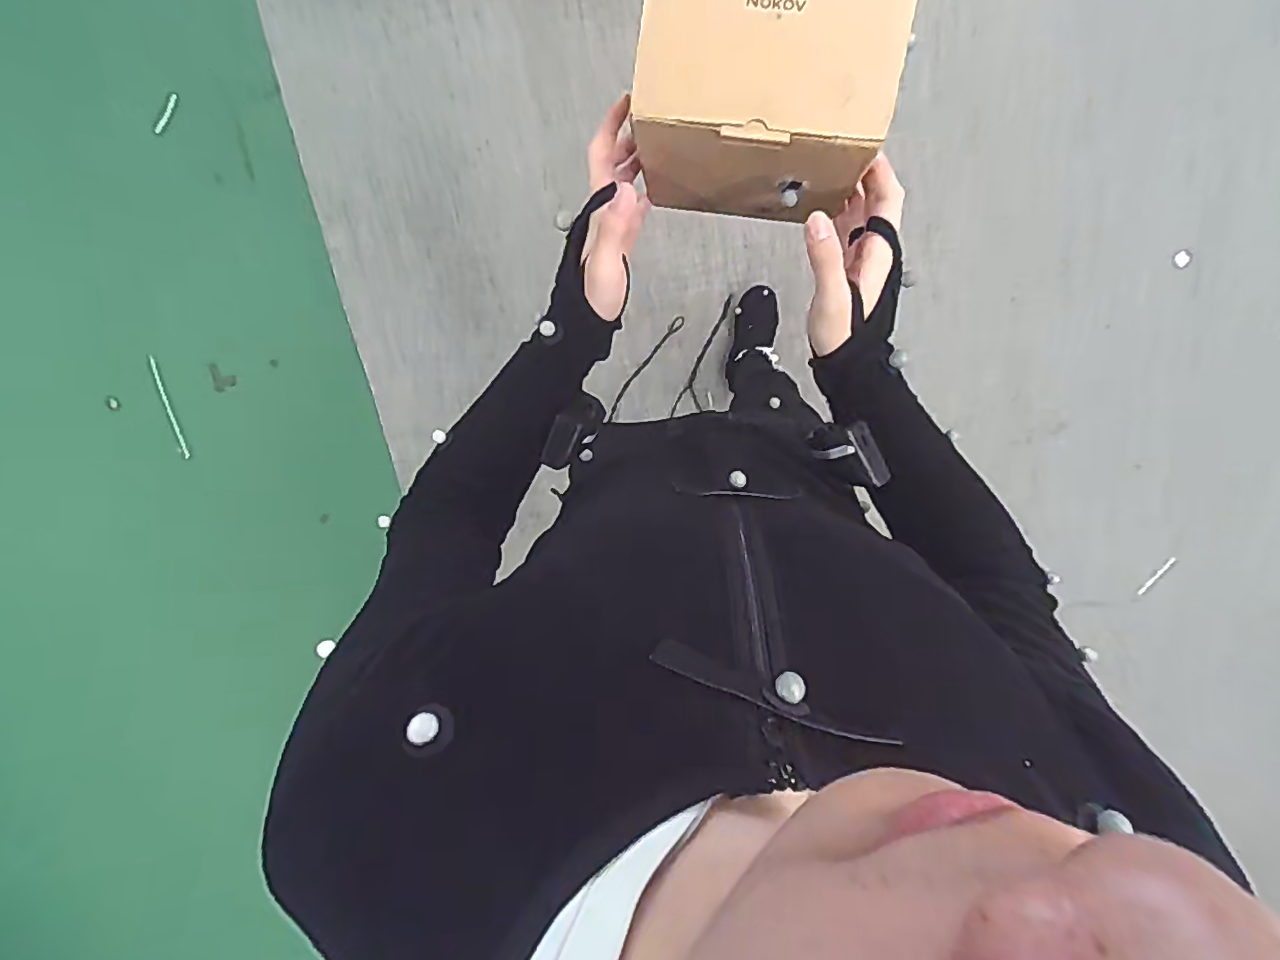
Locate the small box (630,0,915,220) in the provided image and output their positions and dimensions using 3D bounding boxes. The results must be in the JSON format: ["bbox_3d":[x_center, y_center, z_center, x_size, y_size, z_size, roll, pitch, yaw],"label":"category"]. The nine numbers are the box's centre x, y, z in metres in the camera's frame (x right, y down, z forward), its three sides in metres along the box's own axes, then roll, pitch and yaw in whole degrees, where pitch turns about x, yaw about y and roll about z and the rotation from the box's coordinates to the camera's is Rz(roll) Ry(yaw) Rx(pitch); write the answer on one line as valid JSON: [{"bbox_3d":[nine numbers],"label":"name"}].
[{"bbox_3d":[0.095,-0.318,0.409,0.168,0.176,0.179,10,99,4],"label":"small box"}]
